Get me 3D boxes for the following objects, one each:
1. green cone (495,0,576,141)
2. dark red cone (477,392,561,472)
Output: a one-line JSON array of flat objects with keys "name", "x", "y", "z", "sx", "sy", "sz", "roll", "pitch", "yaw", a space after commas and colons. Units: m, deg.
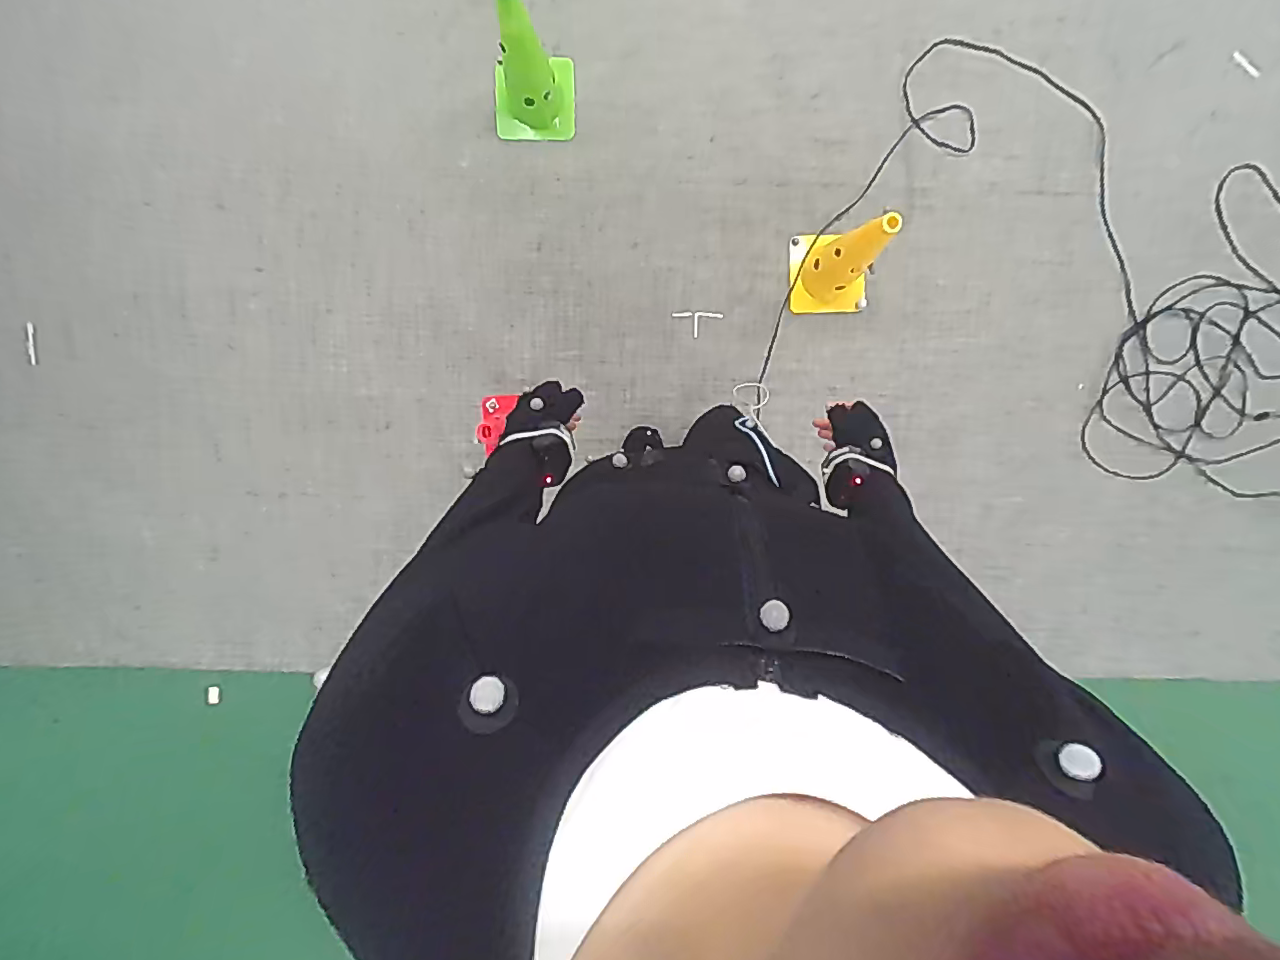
[{"name": "green cone", "x": -0.260, "y": -0.953, "z": 1.206, "sx": 0.202, "sy": 0.368, "sz": 0.200, "roll": -1, "pitch": 96, "yaw": -2}, {"name": "dark red cone", "x": -0.309, "y": -0.108, "z": 1.255, "sx": 0.202, "sy": 0.394, "sz": 0.201, "roll": -4, "pitch": 96, "yaw": 0}]
